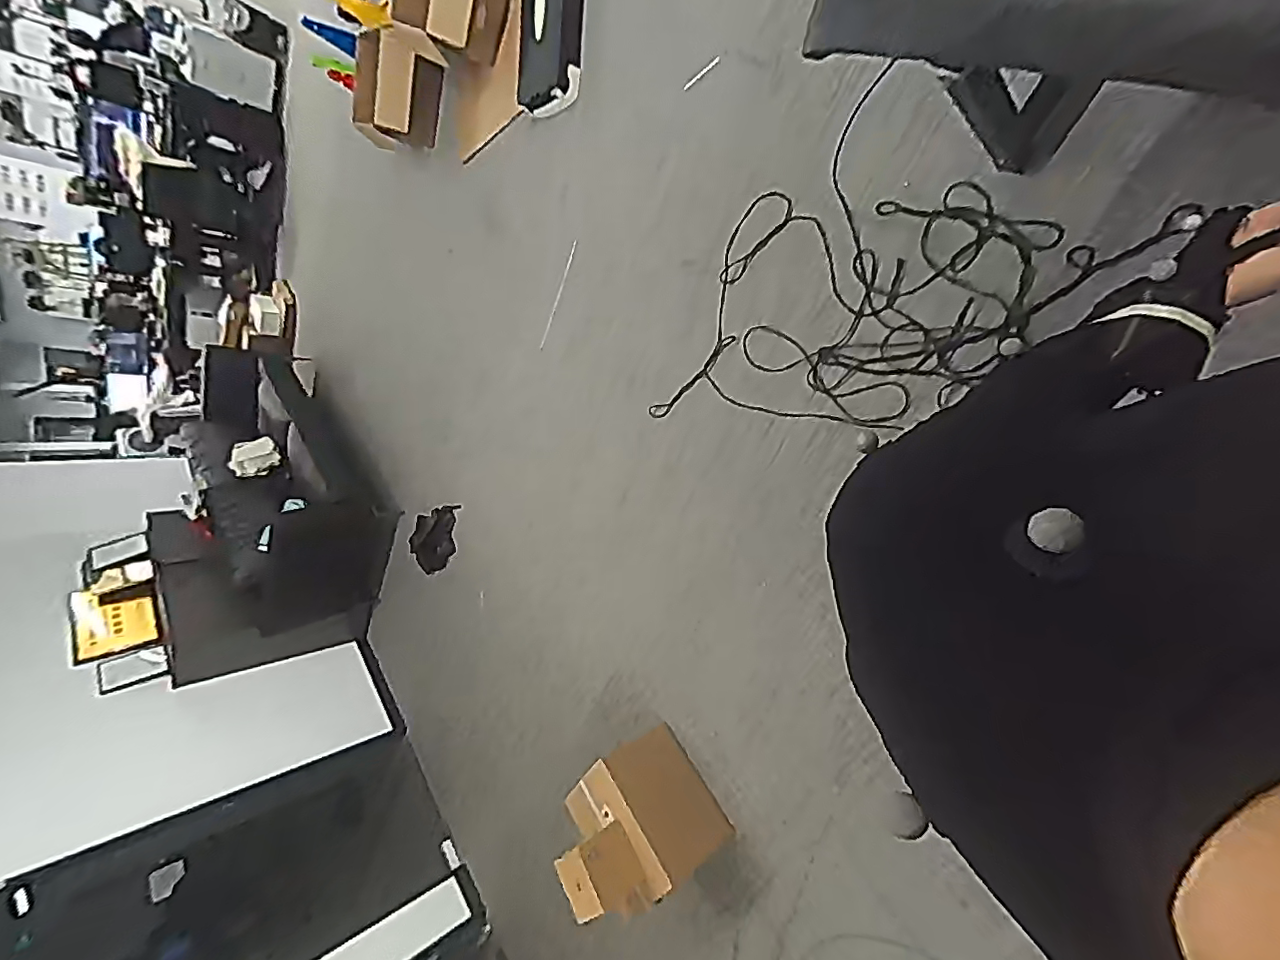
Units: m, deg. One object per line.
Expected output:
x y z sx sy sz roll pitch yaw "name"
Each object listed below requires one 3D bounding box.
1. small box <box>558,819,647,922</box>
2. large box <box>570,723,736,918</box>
-0.109 1.158 1.610 0.179 0.176 0.168 56 129 26 "small box"
0.038 1.113 1.803 0.408 0.320 0.320 51 125 30 "large box"
